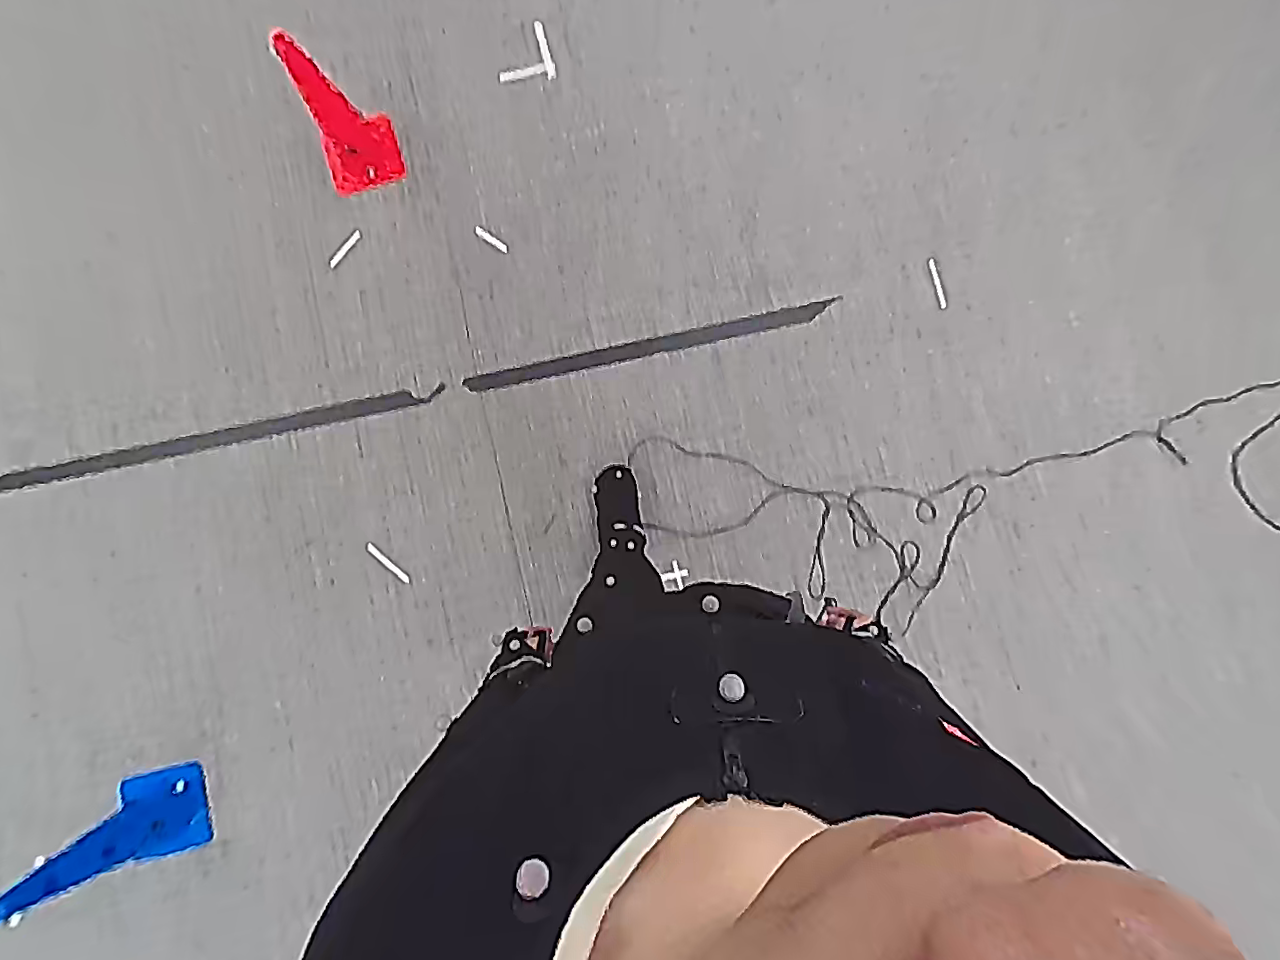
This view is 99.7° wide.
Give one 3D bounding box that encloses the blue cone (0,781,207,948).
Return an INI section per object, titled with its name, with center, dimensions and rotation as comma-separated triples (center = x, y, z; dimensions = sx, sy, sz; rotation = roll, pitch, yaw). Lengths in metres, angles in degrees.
[blue cone]
center = -1.135, 0.810, 1.123
dimensions = 0.193, 0.380, 0.192
rotation = -12, 85, -2

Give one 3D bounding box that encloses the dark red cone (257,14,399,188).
[dark red cone]
center = -0.759, -0.903, 1.279
dimensions = 0.202, 0.394, 0.201
rotation = -21, 85, -2
